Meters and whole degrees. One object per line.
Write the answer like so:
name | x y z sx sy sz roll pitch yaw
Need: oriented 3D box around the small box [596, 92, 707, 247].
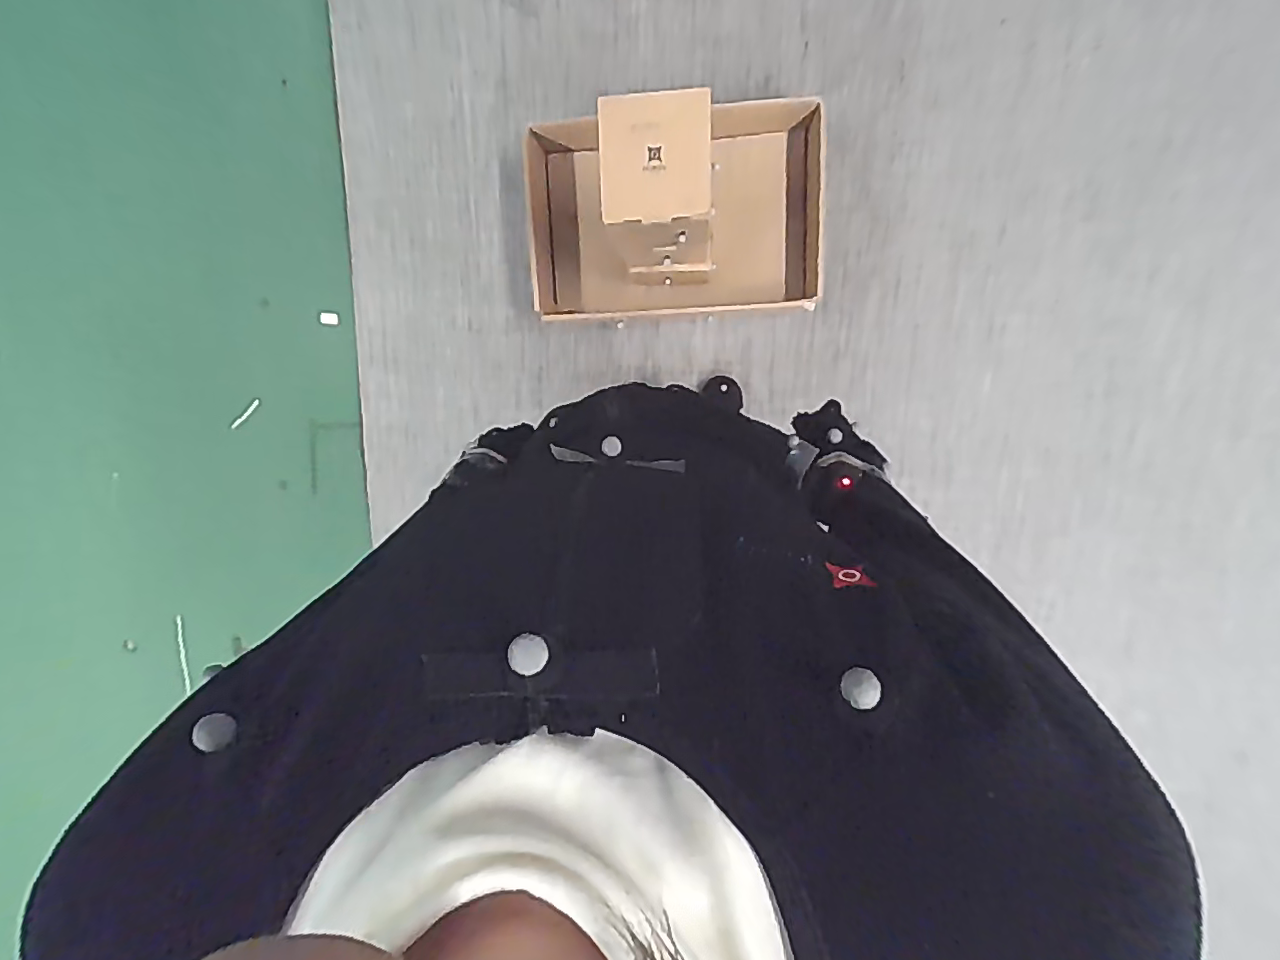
small box | 0.025 -0.488 0.879 0.168 0.176 0.179 -1 99 5

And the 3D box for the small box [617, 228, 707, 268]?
small box | 0.045 -0.522 1.056 0.168 0.176 0.179 -3 99 8

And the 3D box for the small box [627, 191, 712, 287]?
small box | 0.069 -0.535 1.215 0.179 0.176 0.168 2 100 7
